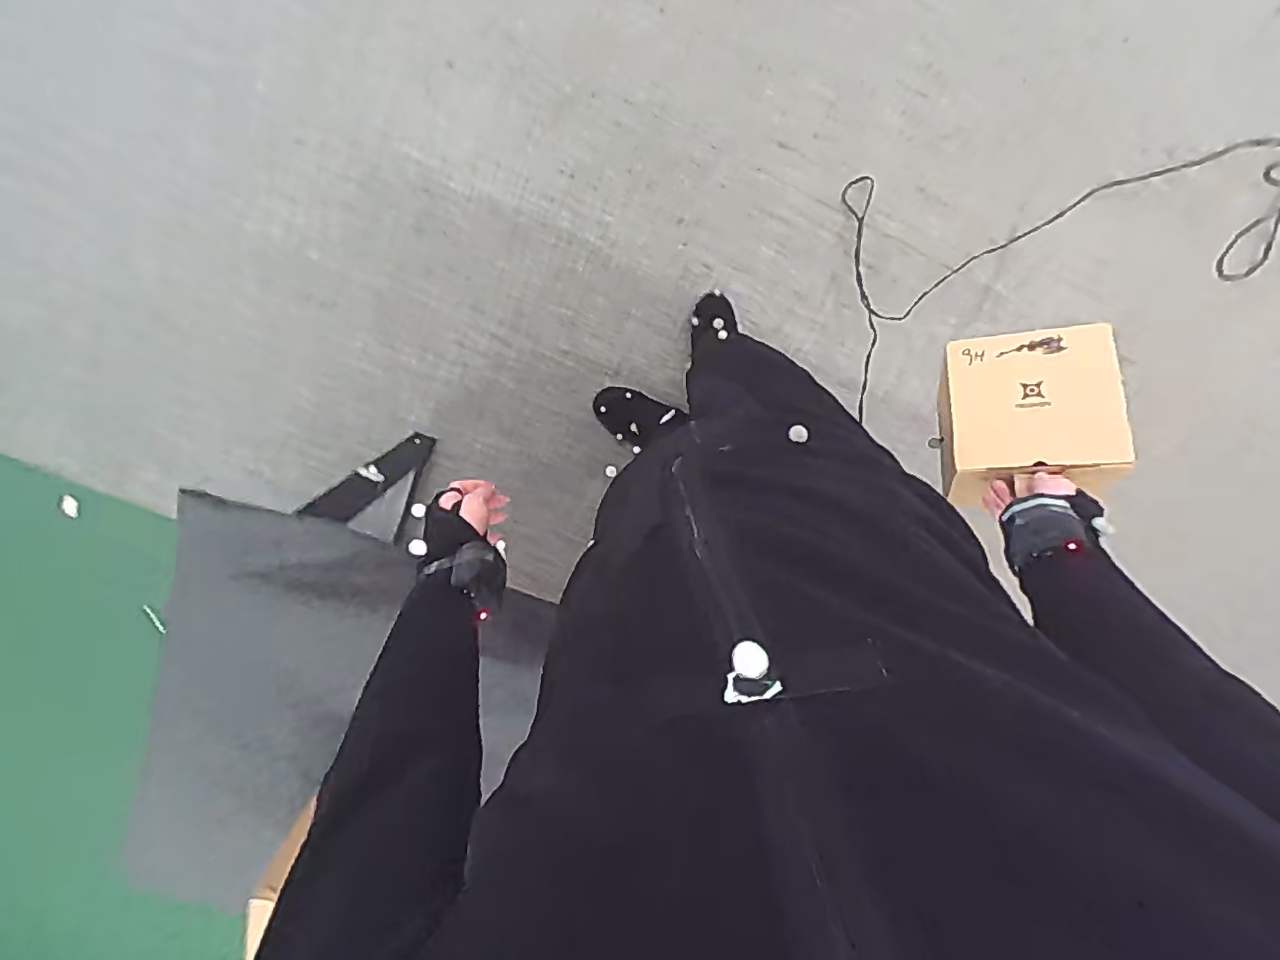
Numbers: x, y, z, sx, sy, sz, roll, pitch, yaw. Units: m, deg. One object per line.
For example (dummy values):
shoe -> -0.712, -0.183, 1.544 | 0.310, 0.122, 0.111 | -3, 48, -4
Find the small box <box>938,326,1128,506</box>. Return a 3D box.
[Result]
small box -> 0.482, -0.068, 0.692 | 0.168, 0.176, 0.179 | 0, 71, 25
